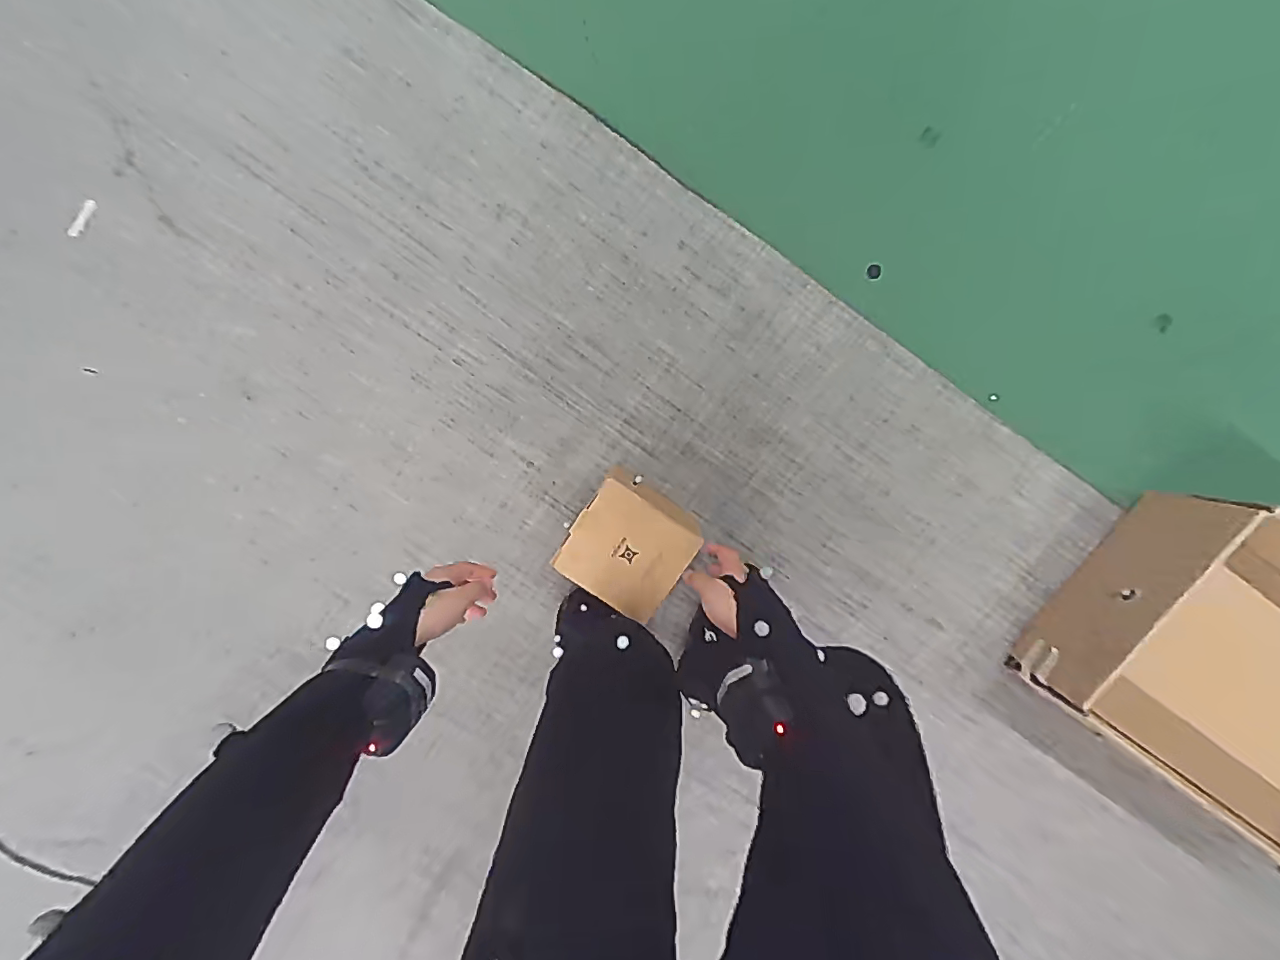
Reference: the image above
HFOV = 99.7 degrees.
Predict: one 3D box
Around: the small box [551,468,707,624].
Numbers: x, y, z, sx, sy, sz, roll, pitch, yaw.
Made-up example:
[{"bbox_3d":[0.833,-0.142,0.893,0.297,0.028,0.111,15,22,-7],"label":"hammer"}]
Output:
[{"bbox_3d":[-0.016,0.094,0.873,0.179,0.176,0.168,33,99,-5],"label":"small box"}]
